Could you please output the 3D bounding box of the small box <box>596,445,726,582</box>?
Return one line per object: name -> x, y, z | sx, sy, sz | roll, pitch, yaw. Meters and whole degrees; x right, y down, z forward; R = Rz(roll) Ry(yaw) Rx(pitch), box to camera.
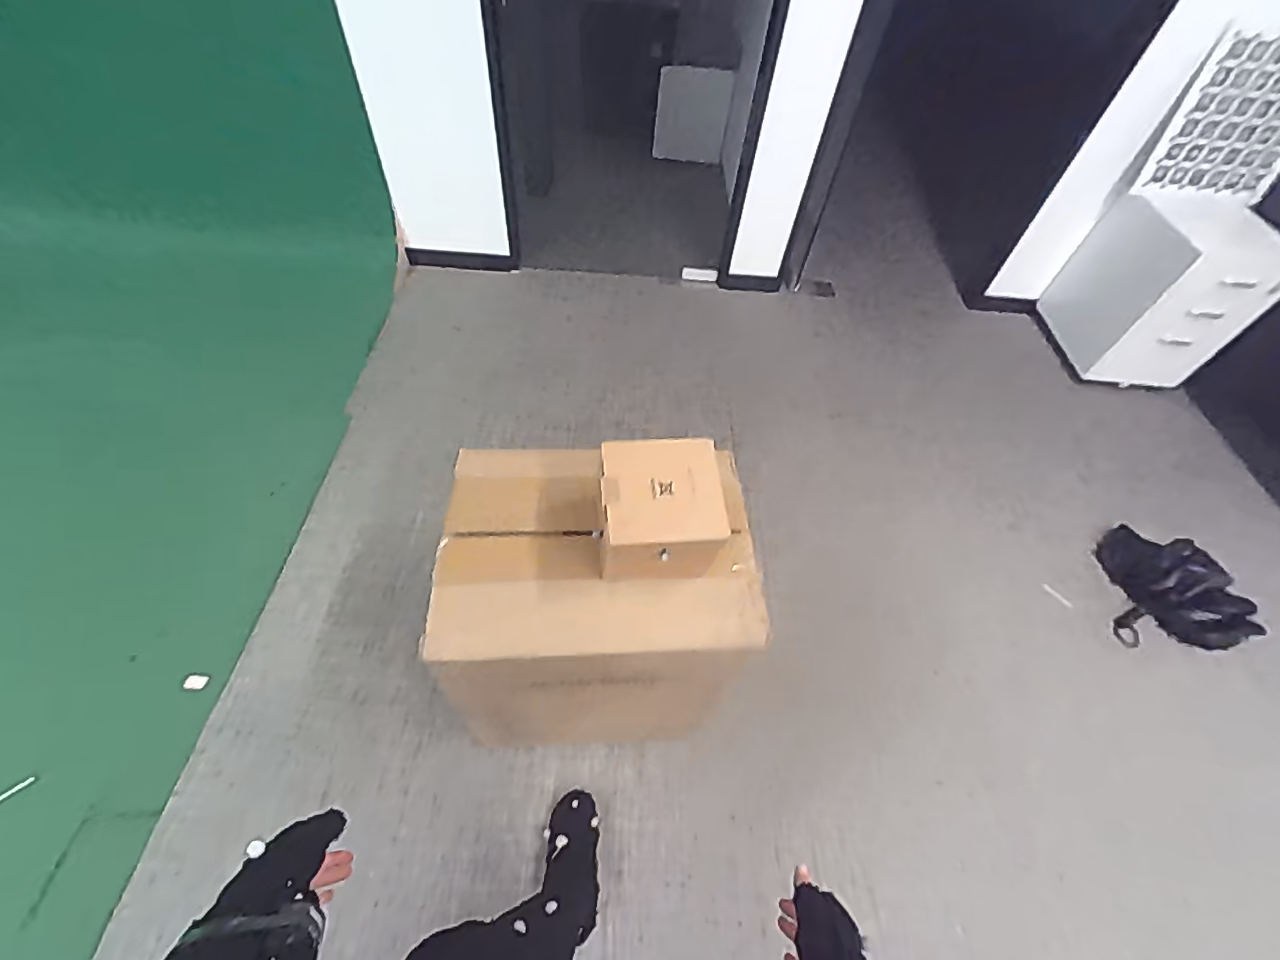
small box -> 0.021, 0.058, 0.858 | 0.179, 0.176, 0.168 | -2, 63, -9
